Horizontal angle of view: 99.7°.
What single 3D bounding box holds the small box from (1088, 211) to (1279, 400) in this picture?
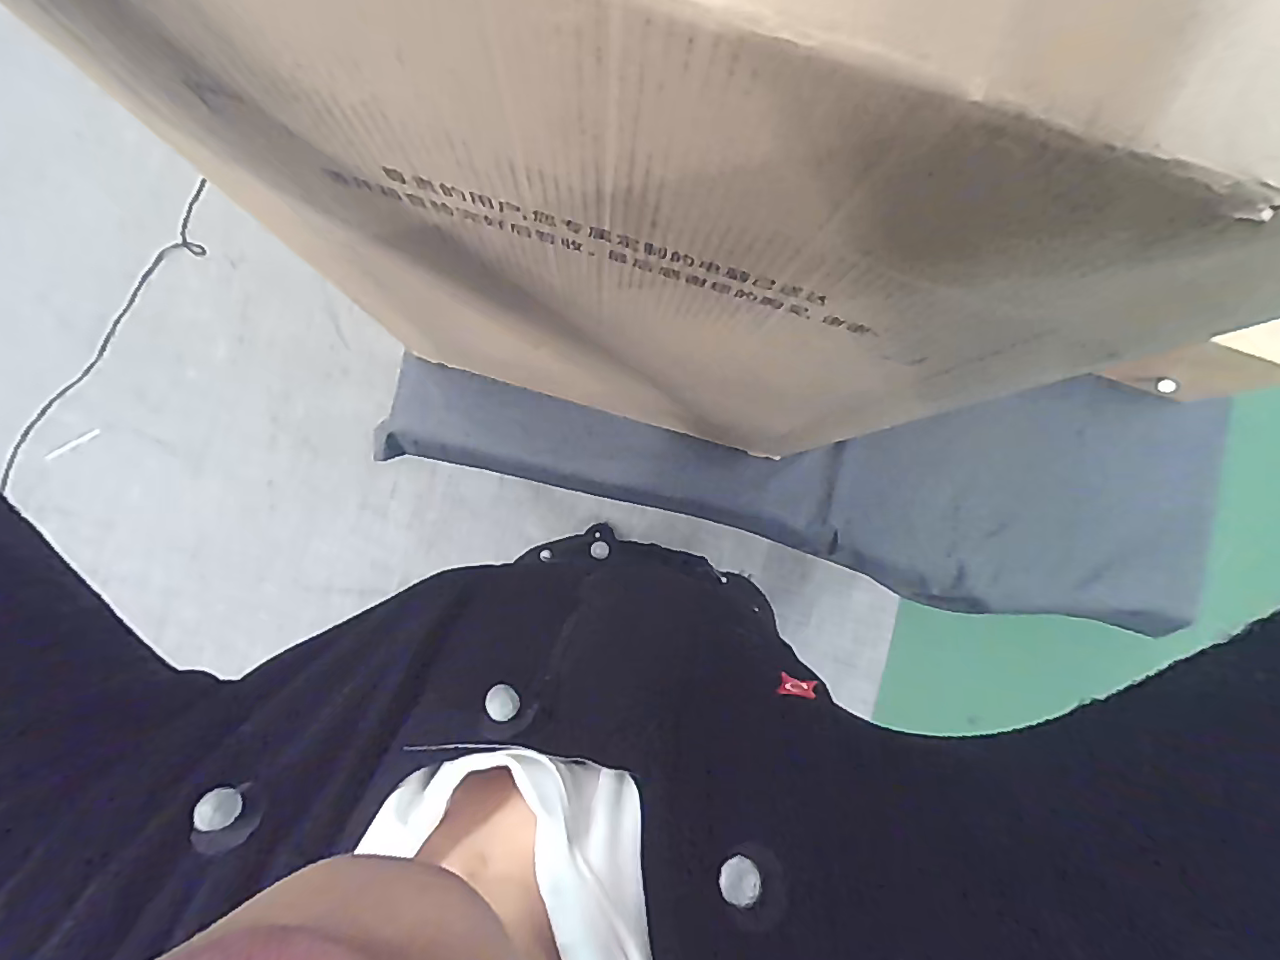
[{"bbox_3d":[0.783,-0.228,0.755,0.168,0.176,0.179,17,87,-3],"label":"small box"}]
